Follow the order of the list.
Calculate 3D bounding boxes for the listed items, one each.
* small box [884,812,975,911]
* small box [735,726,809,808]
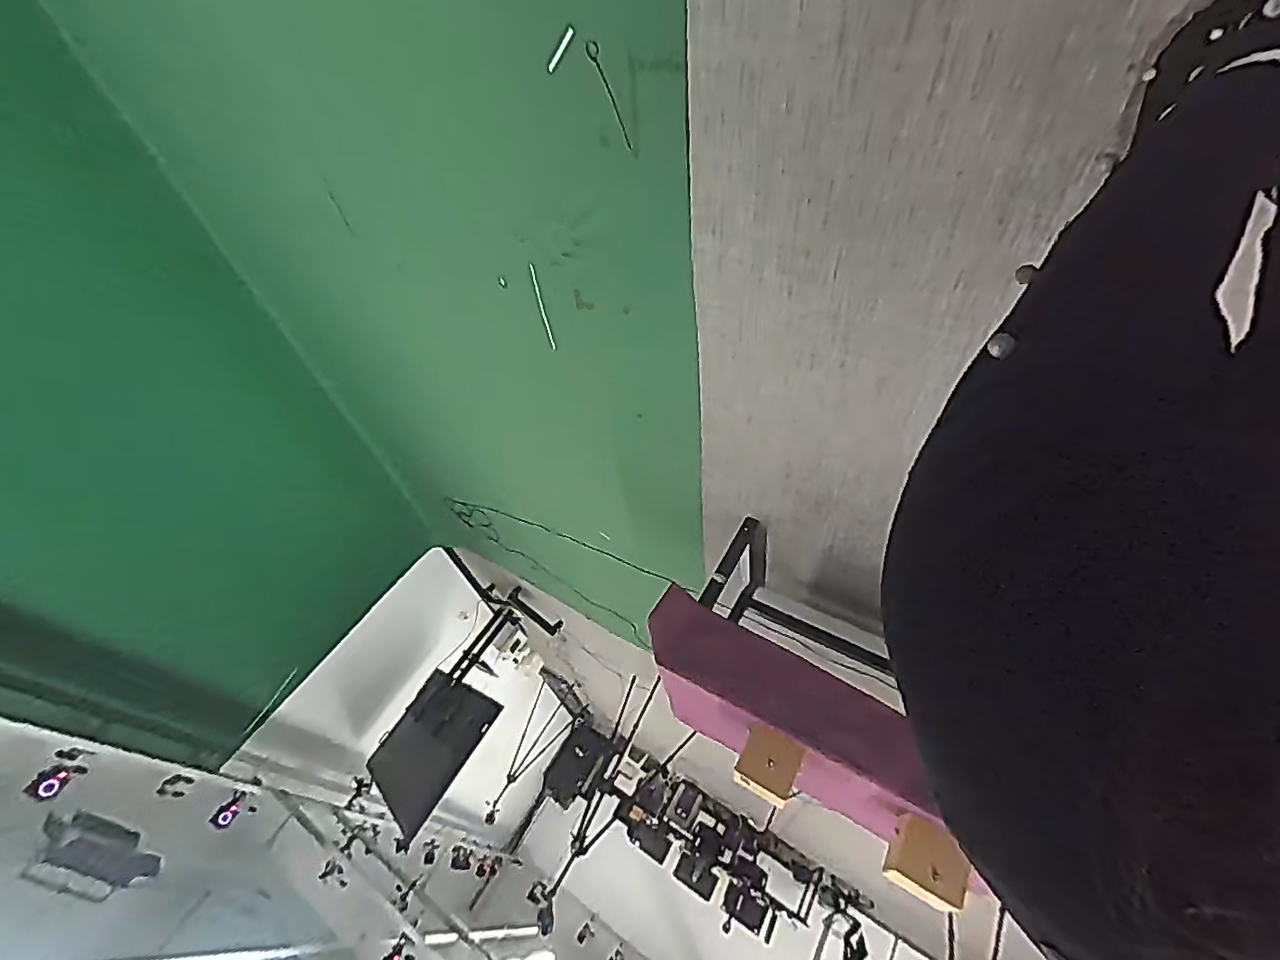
[{"bbox_3d":[0.836,1.096,1.561,0.179,0.176,0.168,23,148,24],"label":"small box"},{"bbox_3d":[0.427,0.924,1.759,0.179,0.176,0.168,22,148,24],"label":"small box"}]
